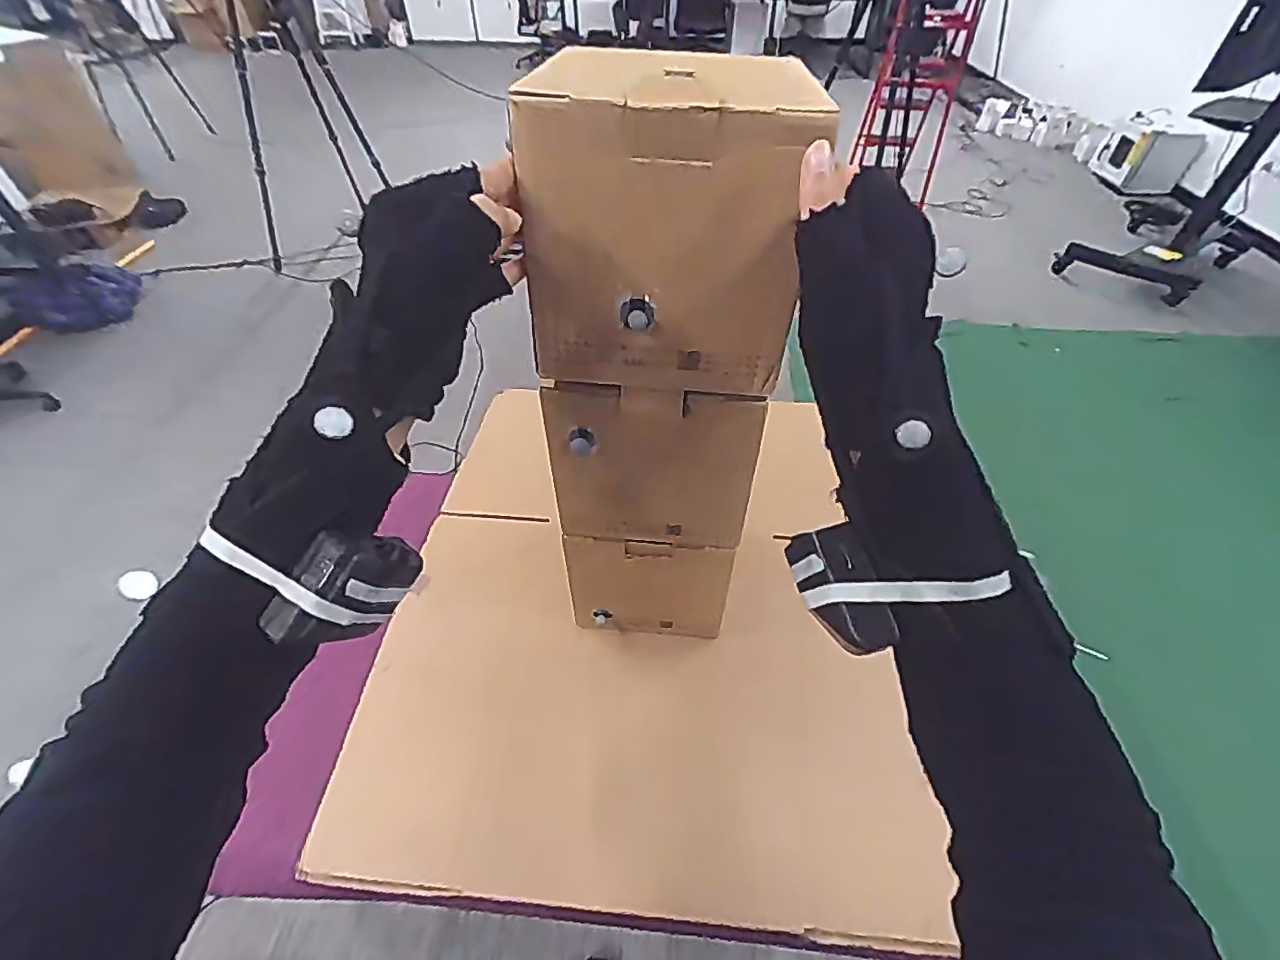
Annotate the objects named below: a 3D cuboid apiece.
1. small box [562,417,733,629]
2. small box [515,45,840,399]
[{"bbox_3d":[0.016,0.050,0.618,0.168,0.176,0.179,4,46,4],"label":"small box"},{"bbox_3d":[0.021,-0.181,0.381,0.168,0.176,0.179,5,46,2],"label":"small box"}]
